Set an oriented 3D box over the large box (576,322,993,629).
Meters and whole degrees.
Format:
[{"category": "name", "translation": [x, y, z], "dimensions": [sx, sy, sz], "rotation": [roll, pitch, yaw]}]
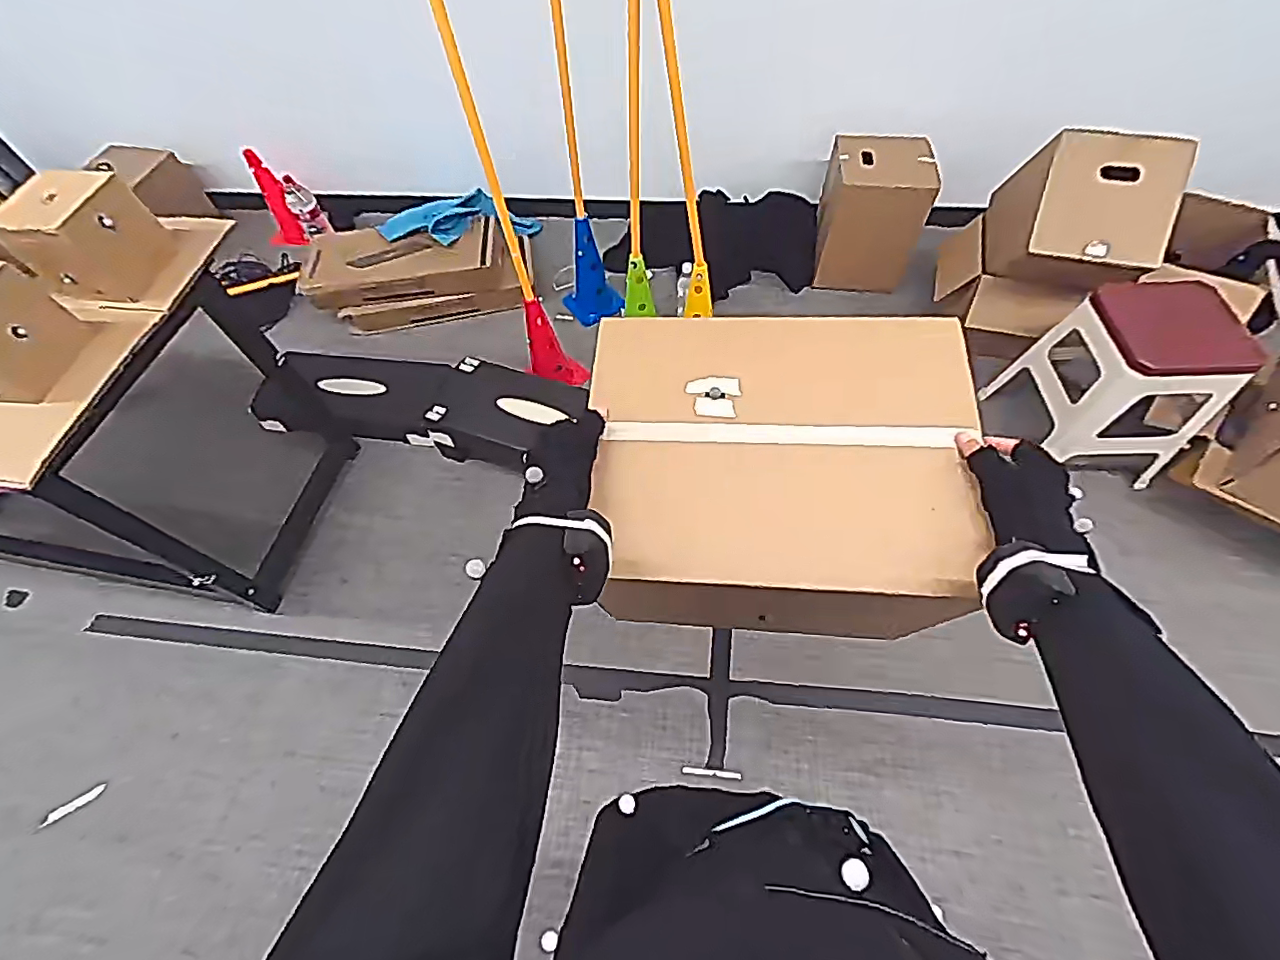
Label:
[{"category": "large box", "translation": [0.160, 0.015, 0.714], "dimensions": [0.408, 0.320, 0.320], "rotation": [2, 67, 8]}]
